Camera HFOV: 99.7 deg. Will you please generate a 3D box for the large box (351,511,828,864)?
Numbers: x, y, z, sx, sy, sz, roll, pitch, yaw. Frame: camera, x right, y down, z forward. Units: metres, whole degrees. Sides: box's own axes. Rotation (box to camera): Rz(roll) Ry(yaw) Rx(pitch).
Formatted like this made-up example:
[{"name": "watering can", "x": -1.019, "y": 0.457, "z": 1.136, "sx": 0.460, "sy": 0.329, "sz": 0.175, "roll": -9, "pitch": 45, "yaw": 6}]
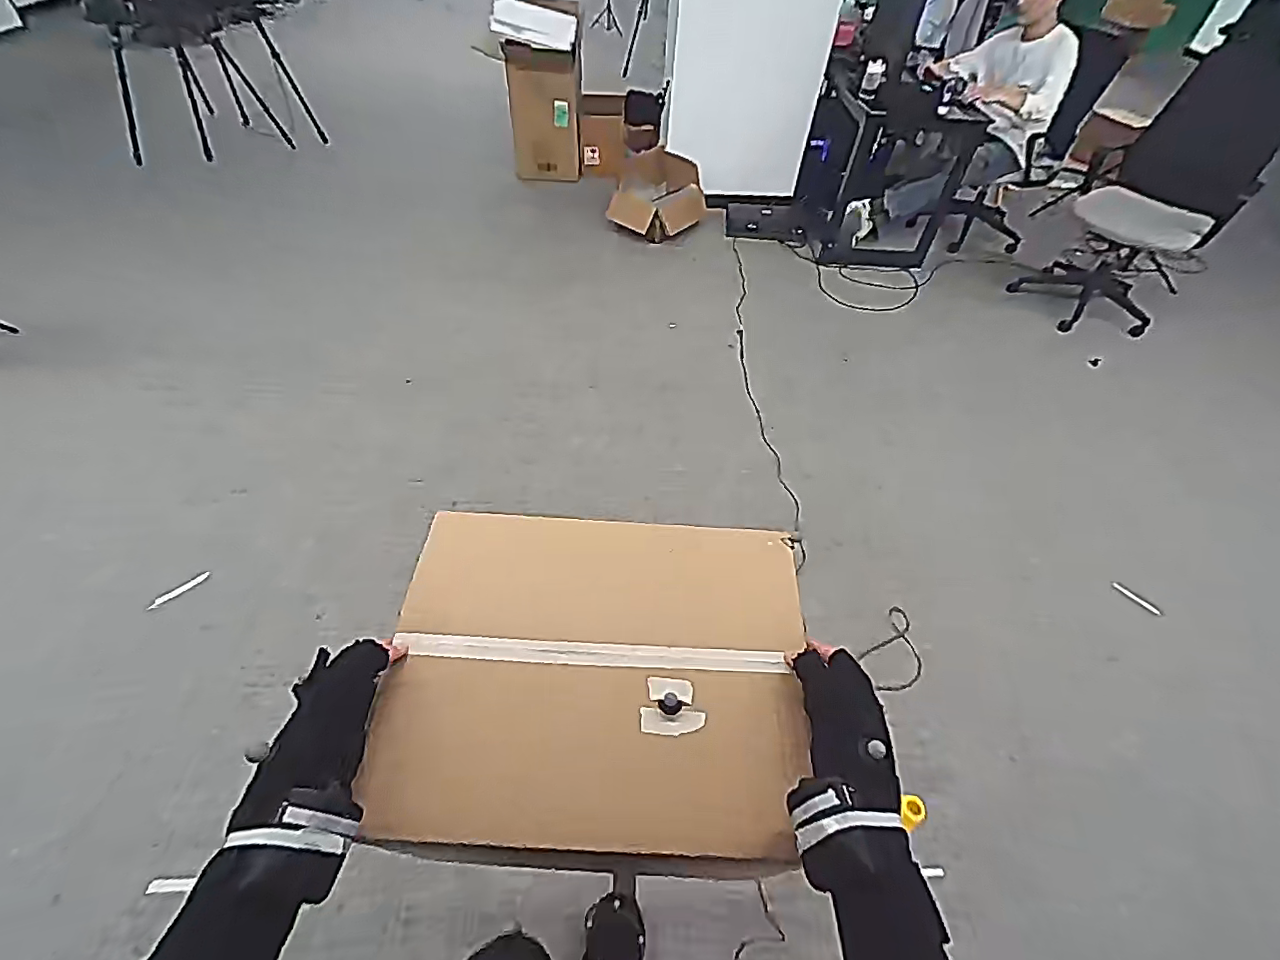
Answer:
[{"name": "large box", "x": -0.045, "y": 0.258, "z": 0.651, "sx": 0.408, "sy": 0.320, "sz": 0.320, "roll": 4, "pitch": 52, "yaw": -1}]
